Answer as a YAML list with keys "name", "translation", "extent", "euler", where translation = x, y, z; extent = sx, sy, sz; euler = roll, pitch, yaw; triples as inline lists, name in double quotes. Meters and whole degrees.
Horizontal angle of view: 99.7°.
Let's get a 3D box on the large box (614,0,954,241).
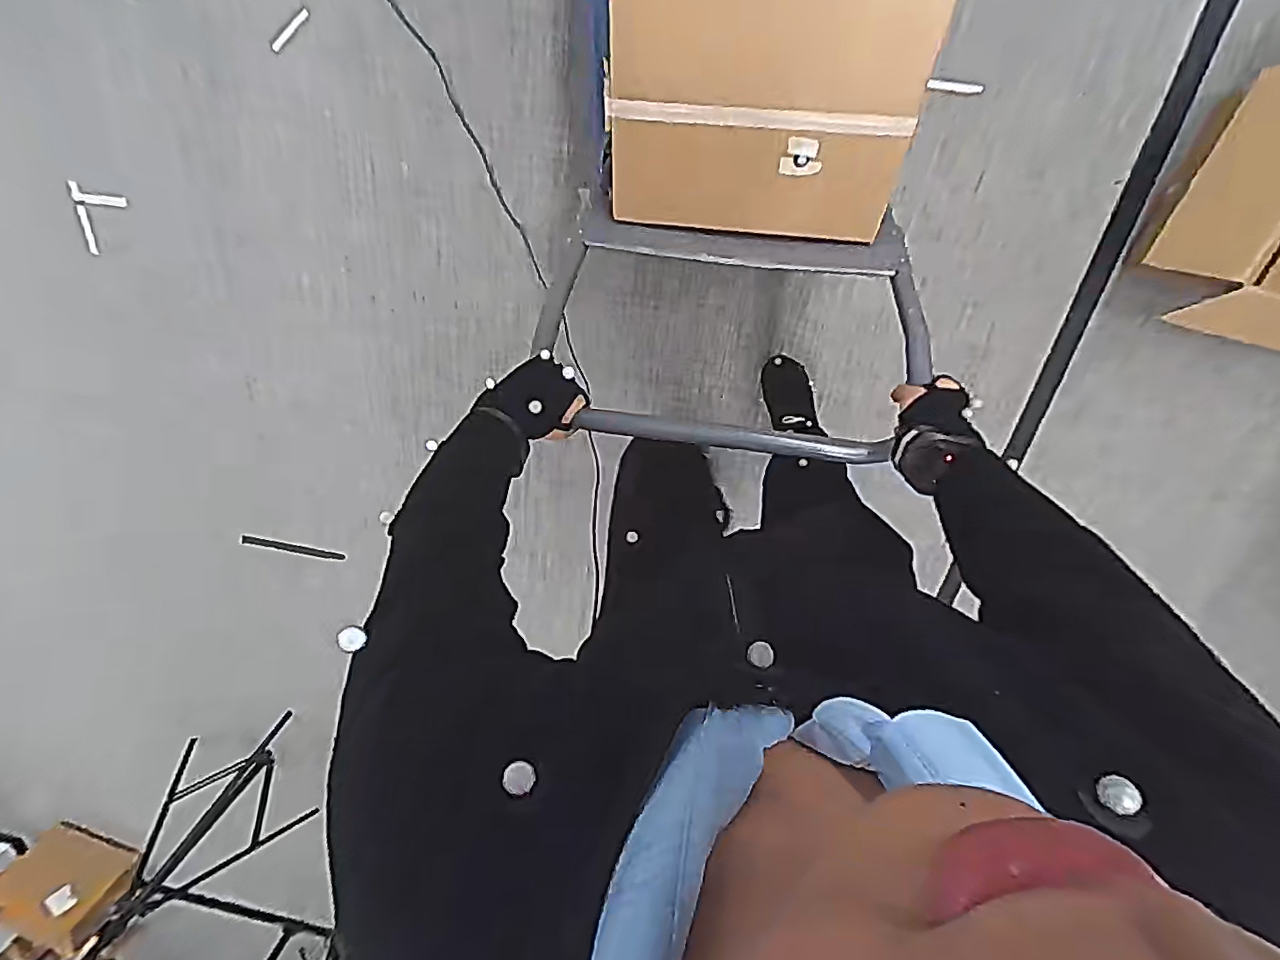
- name: "large box"
  translation: [0.182, -0.598, 0.830]
  extent: [0.408, 0.320, 0.320]
  euler: [7, 139, 4]
